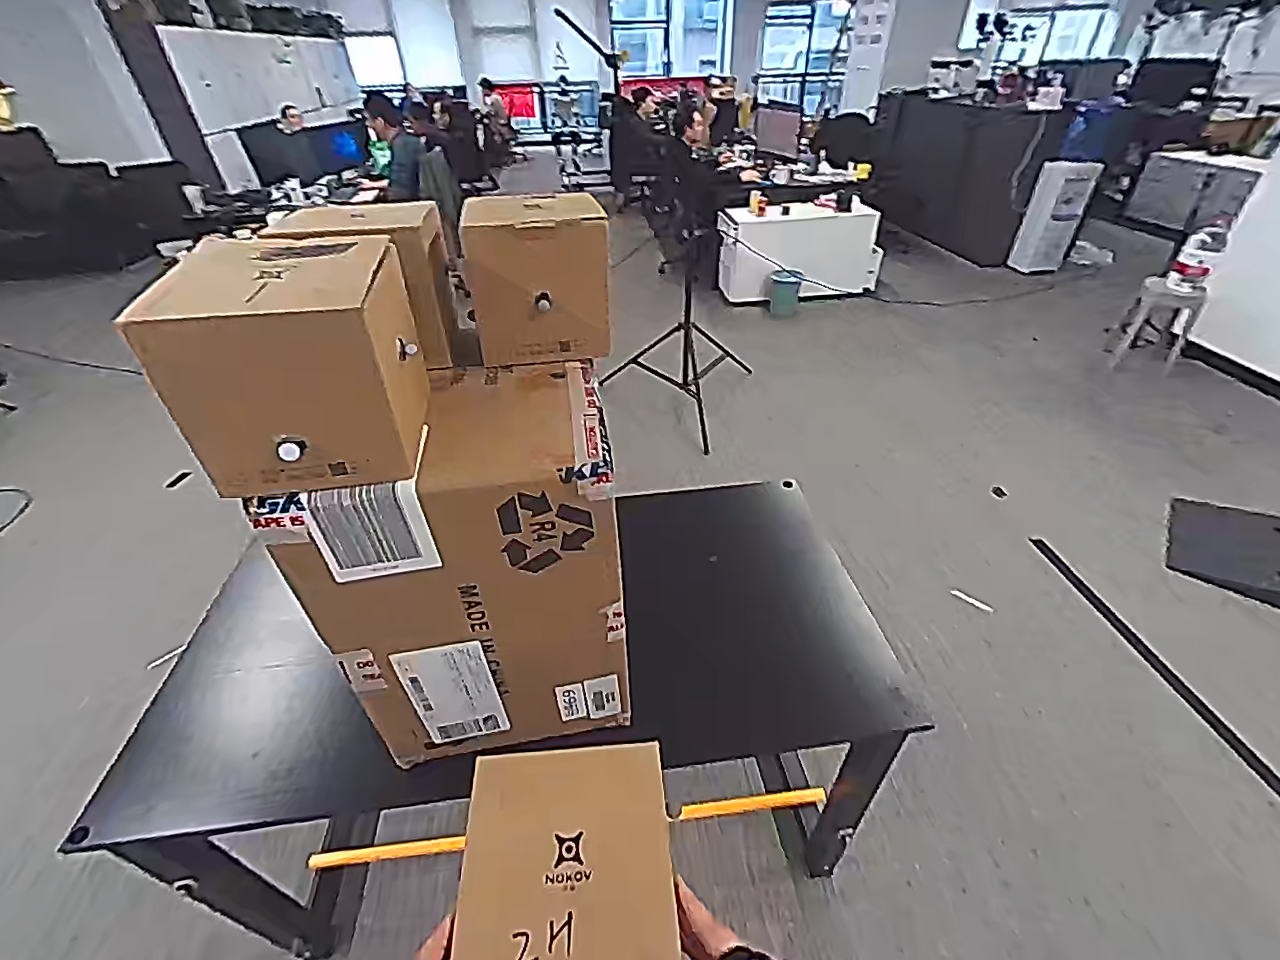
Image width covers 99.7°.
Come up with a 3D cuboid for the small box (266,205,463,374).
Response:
[{"bbox_3d":[-0.330,-0.242,0.691,0.168,0.176,0.179,-9,37,-9],"label":"small box"}]

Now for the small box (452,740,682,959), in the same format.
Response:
[{"bbox_3d":[-0.058,0.361,0.481,0.168,0.176,0.179,-3,41,-4],"label":"small box"}]

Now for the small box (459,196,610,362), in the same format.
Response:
[{"bbox_3d":[-0.133,-0.263,0.712,0.168,0.176,0.179,-6,38,-9],"label":"small box"}]

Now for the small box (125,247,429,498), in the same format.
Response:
[{"bbox_3d":[-0.305,-0.106,0.509,0.168,0.176,0.179,-7,40,-10],"label":"small box"}]
